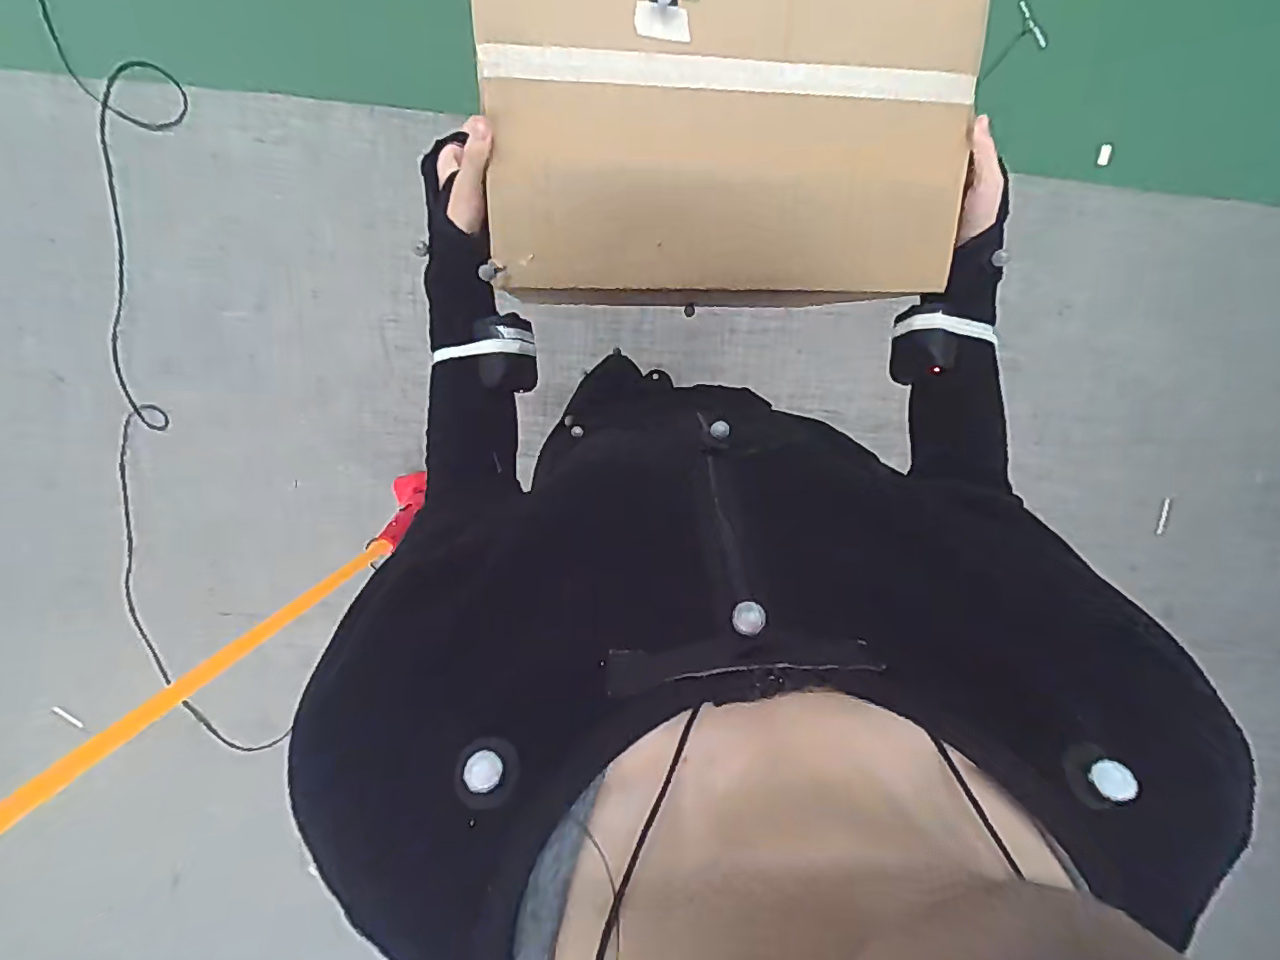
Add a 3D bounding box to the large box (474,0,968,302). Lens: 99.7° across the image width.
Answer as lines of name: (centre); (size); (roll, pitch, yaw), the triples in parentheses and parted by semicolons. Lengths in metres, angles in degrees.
large box: (0.056, -0.361, 0.583); (0.408, 0.320, 0.320); (-2, 105, -7)
